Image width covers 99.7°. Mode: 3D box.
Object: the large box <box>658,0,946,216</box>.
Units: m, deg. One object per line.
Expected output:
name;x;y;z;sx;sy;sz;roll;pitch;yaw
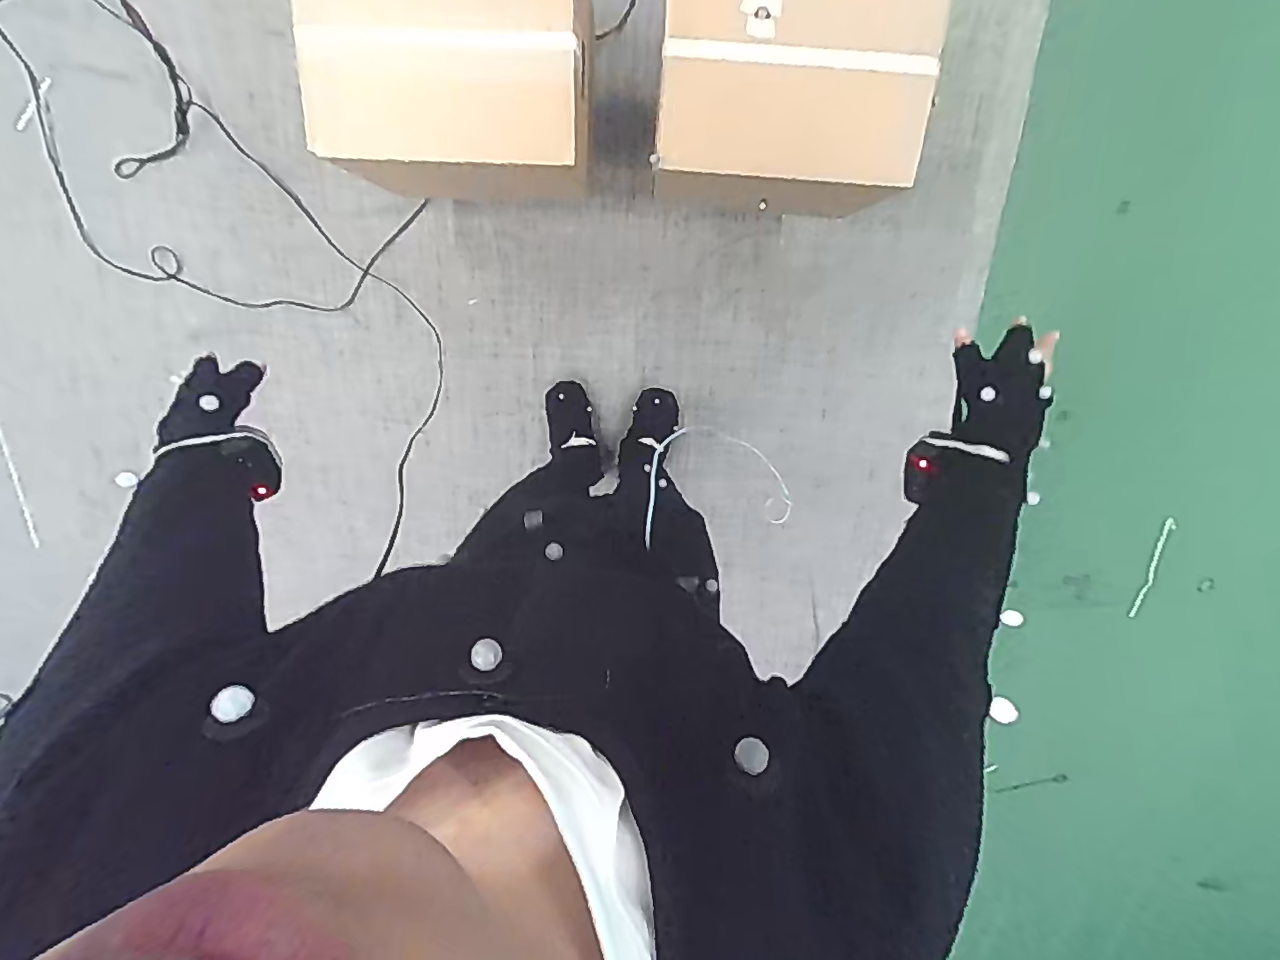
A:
large box;0.244;-0.664;0.953;0.408;0.320;0.320;4;107;-1
